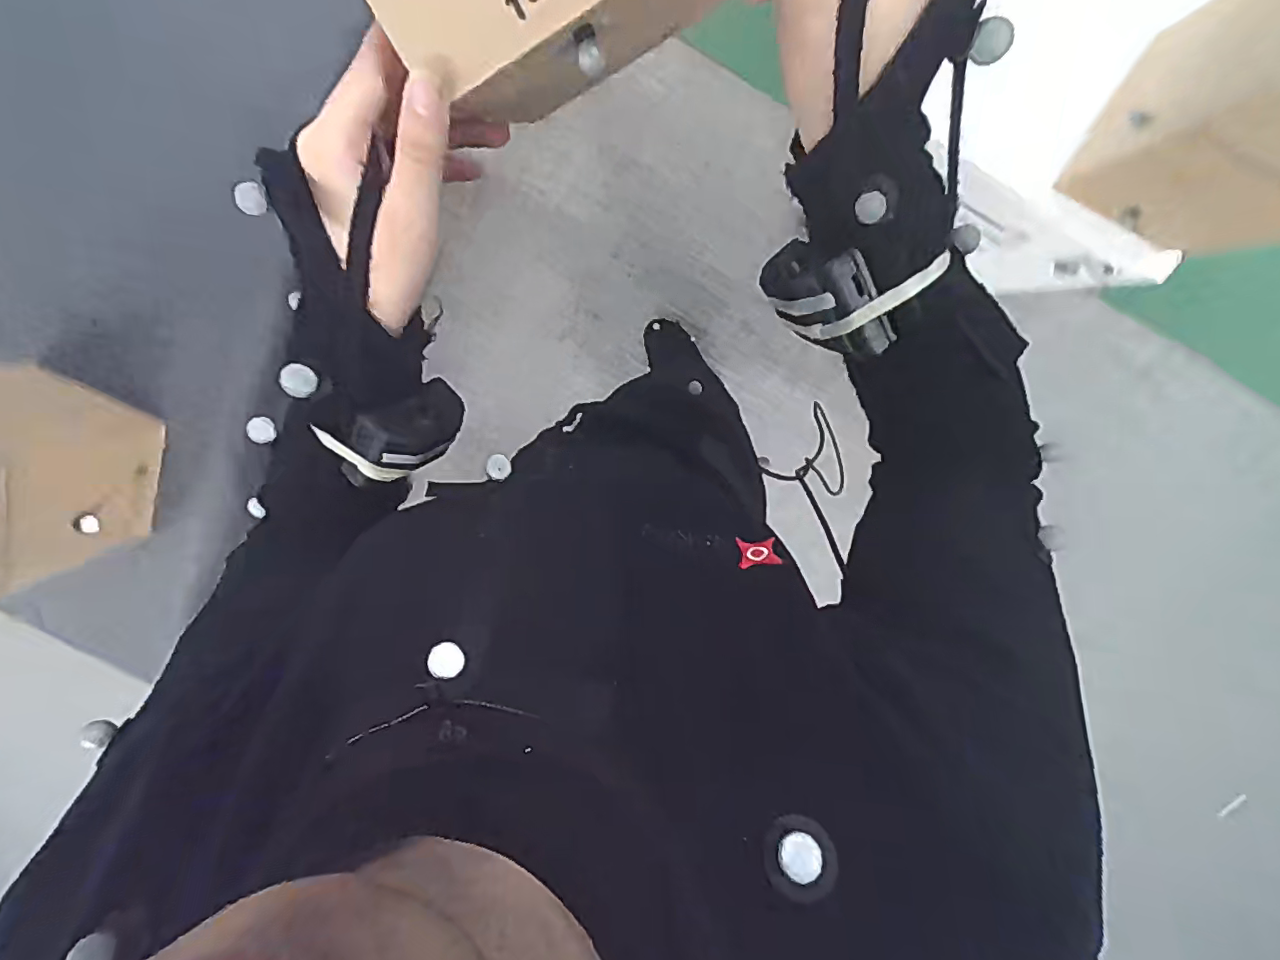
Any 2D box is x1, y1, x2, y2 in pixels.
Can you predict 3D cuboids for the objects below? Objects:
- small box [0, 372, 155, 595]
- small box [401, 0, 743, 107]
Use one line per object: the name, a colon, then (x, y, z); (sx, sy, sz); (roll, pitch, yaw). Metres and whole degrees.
small box: (-0.694, -0.009, 0.596); (0.179, 0.176, 0.168); (23, 108, -2)
small box: (-0.032, -0.286, 0.219); (0.168, 0.176, 0.179); (-20, 119, 15)
